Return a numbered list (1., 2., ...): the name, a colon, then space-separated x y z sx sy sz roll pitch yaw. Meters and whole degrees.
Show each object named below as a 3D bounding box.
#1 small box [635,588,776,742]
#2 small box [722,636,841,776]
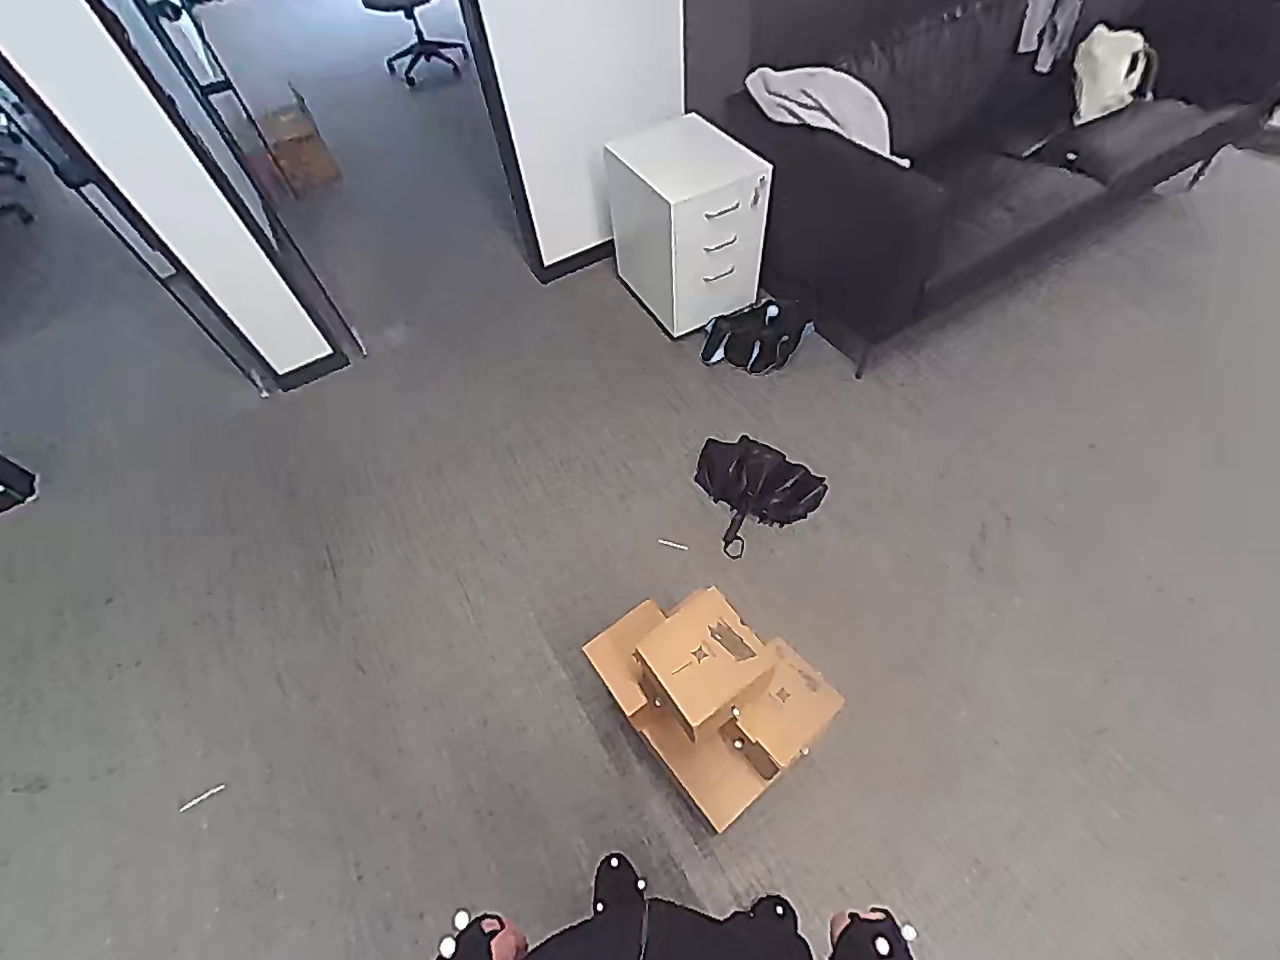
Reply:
1. small box: 0.112 0.328 0.952 0.179 0.176 0.168 -33 58 -14
2. small box: 0.258 0.446 1.056 0.179 0.176 0.168 -36 59 -19
